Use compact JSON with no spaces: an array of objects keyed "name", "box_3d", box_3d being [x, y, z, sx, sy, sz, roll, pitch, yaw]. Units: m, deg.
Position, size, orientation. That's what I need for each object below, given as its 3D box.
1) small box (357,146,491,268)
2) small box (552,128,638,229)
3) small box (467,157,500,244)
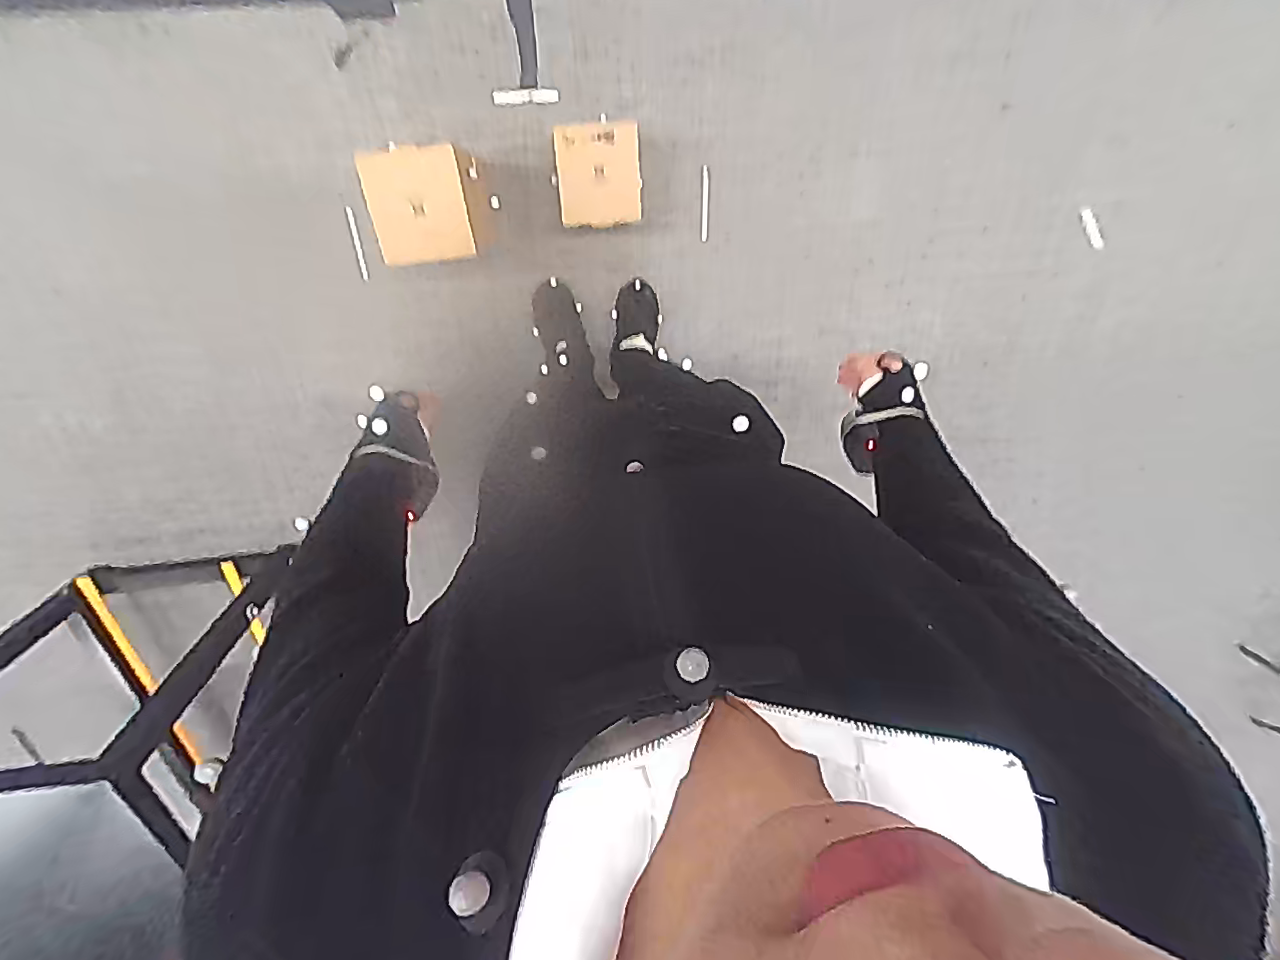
[{"name":"small box","box_3d":[-0.387,-0.502,1.003,0.168,0.176,0.179,-8,119,-1]},{"name":"small box","box_3d":[-0.094,-0.640,1.153,0.168,0.176,0.179,-5,118,-4]},{"name":"small box","box_3d":[-0.408,-0.578,1.145,0.179,0.176,0.168,-7,118,-4]}]
